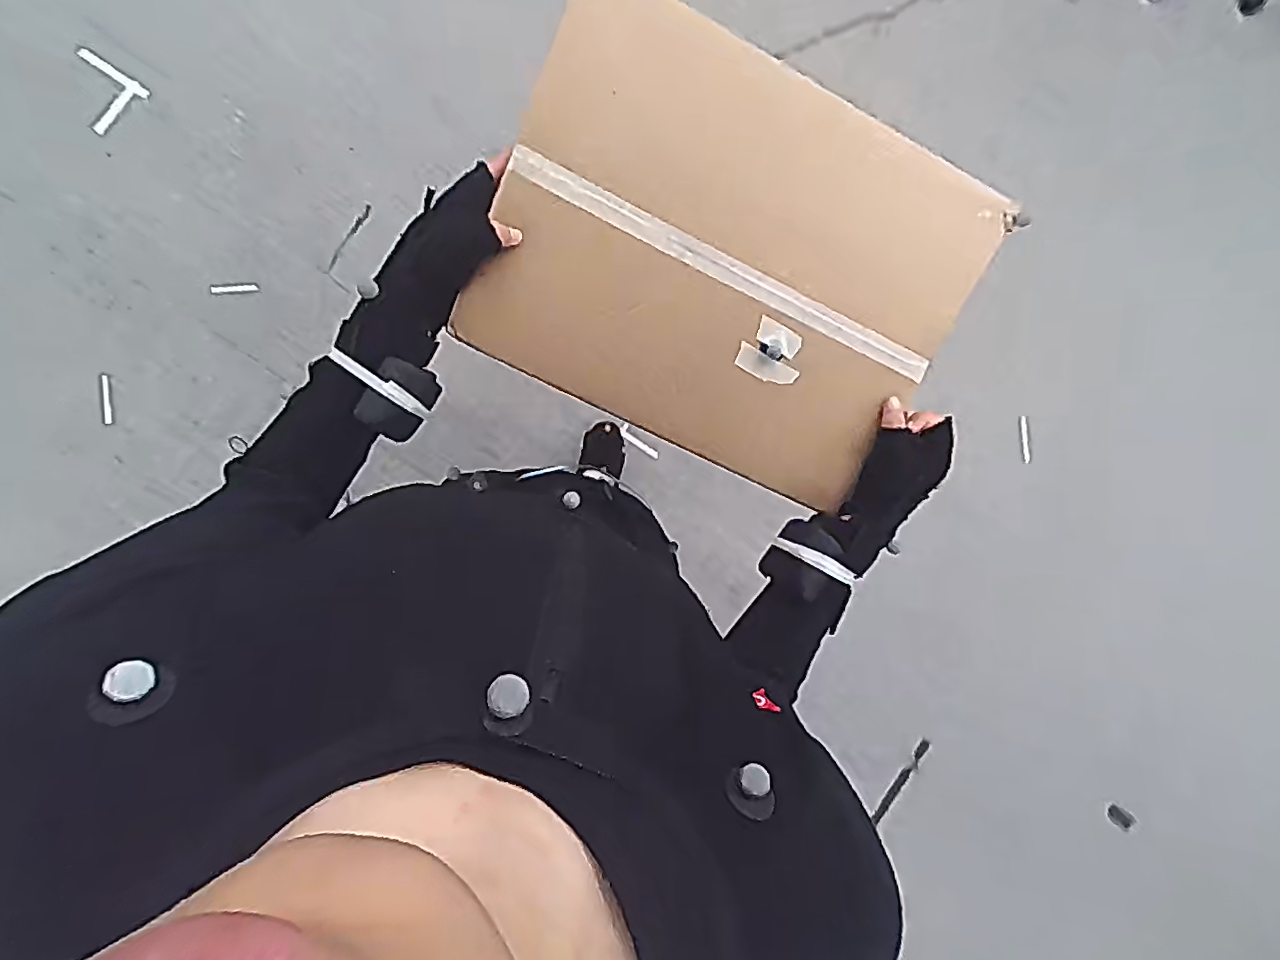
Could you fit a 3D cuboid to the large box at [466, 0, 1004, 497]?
[{"bbox_3d":[0.074,-0.229,0.626,0.408,0.320,0.320,25,103,-9],"label":"large box"}]
